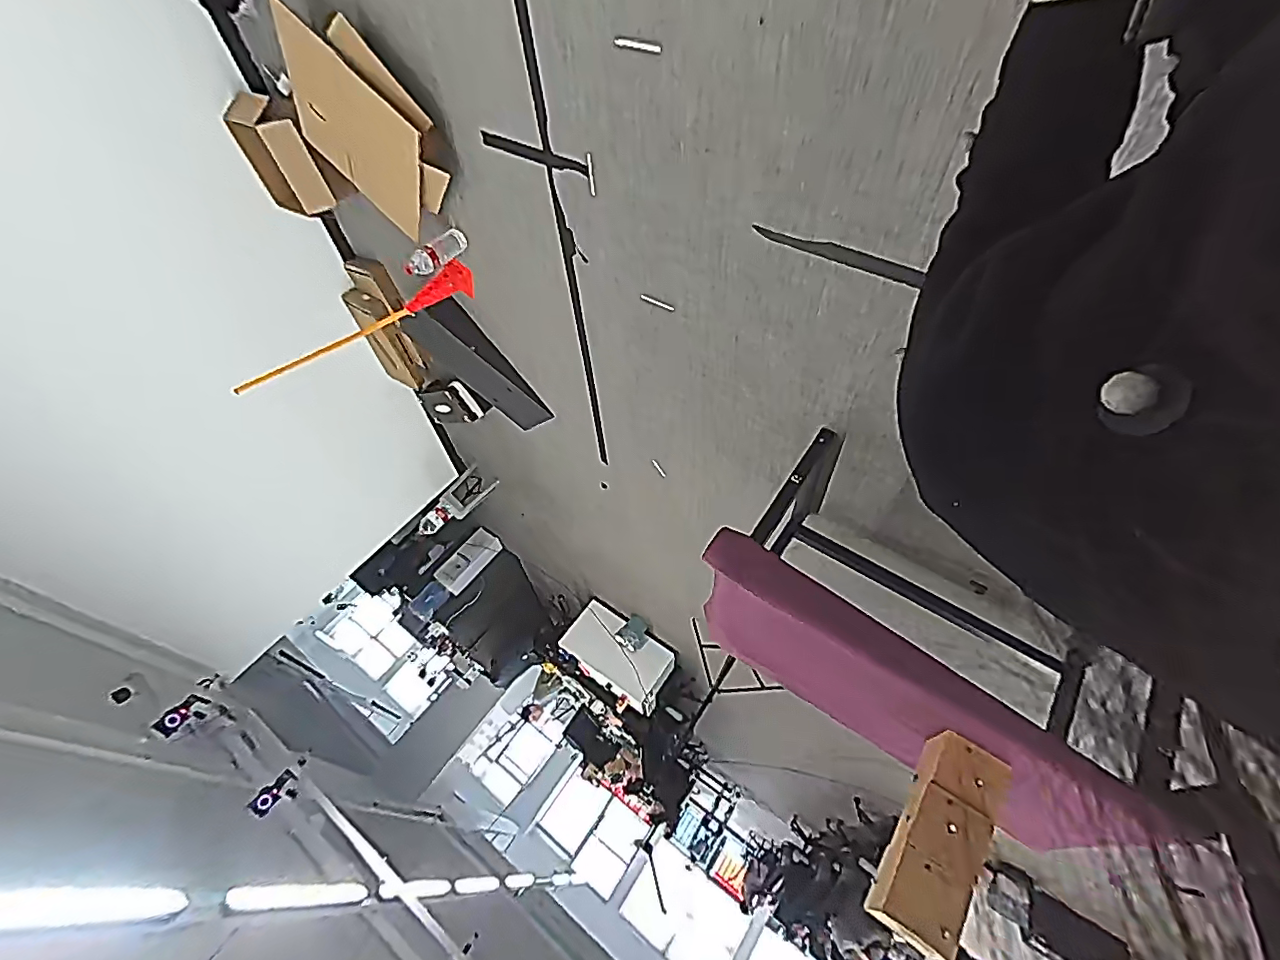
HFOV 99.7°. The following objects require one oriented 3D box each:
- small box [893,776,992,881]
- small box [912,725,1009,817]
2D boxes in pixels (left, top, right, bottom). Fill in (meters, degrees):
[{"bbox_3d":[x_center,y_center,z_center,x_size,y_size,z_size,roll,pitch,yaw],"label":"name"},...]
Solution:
[{"bbox_3d":[0.797,0.912,1.424,0.168,0.176,0.179,26,150,27],"label":"small box"},{"bbox_3d":[0.897,0.815,1.512,0.168,0.176,0.179,29,152,22],"label":"small box"}]
